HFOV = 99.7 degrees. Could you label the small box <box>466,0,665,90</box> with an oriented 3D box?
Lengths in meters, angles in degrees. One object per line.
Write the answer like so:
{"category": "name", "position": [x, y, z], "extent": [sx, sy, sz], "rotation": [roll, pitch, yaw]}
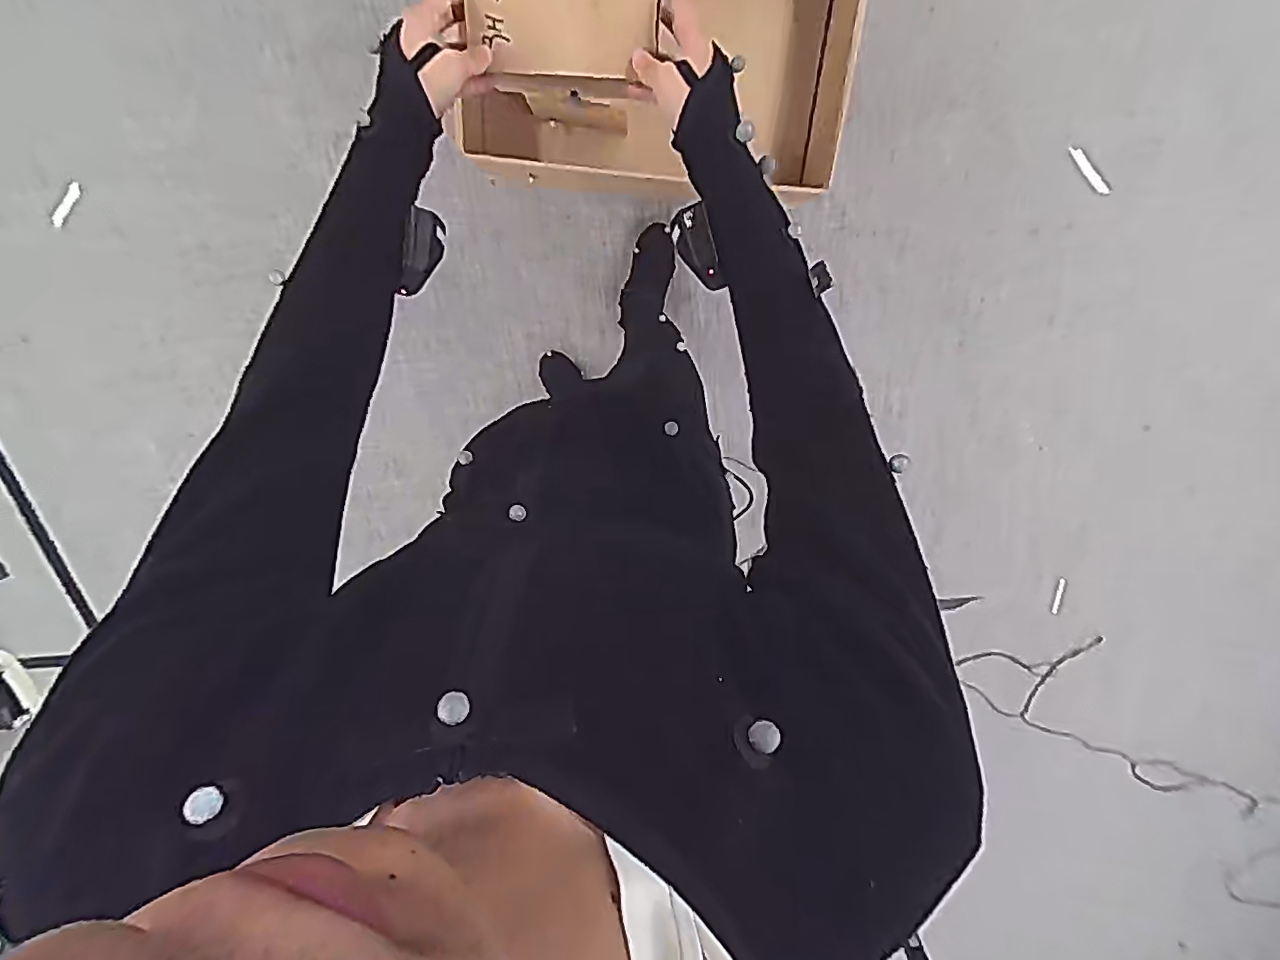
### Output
{"category": "small box", "position": [-0.068, -0.493, 0.527], "extent": [0.179, 0.176, 0.168], "rotation": [2, 120, -4]}

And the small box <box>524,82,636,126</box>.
{"category": "small box", "position": [-0.084, -0.689, 0.859], "extent": [0.168, 0.176, 0.179], "rotation": [6, 111, -4]}
